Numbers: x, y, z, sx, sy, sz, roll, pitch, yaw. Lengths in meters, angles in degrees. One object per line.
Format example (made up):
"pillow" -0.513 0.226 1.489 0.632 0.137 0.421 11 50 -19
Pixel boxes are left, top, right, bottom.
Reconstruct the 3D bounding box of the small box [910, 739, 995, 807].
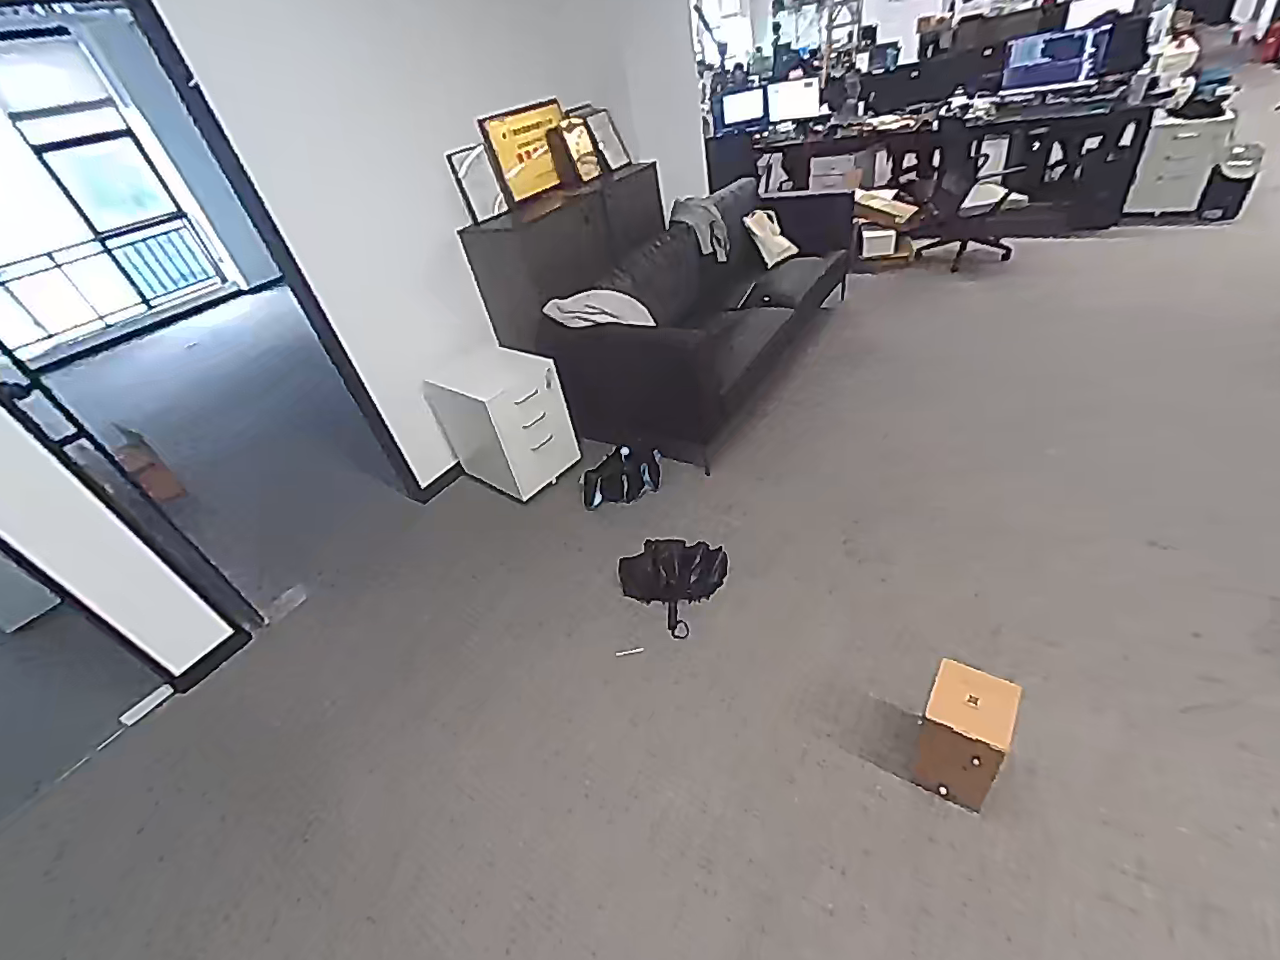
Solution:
"small box" 0.799 0.681 1.372 0.168 0.176 0.179 15 47 31

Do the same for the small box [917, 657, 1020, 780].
"small box" 0.766 0.560 1.270 0.168 0.176 0.179 17 46 31
